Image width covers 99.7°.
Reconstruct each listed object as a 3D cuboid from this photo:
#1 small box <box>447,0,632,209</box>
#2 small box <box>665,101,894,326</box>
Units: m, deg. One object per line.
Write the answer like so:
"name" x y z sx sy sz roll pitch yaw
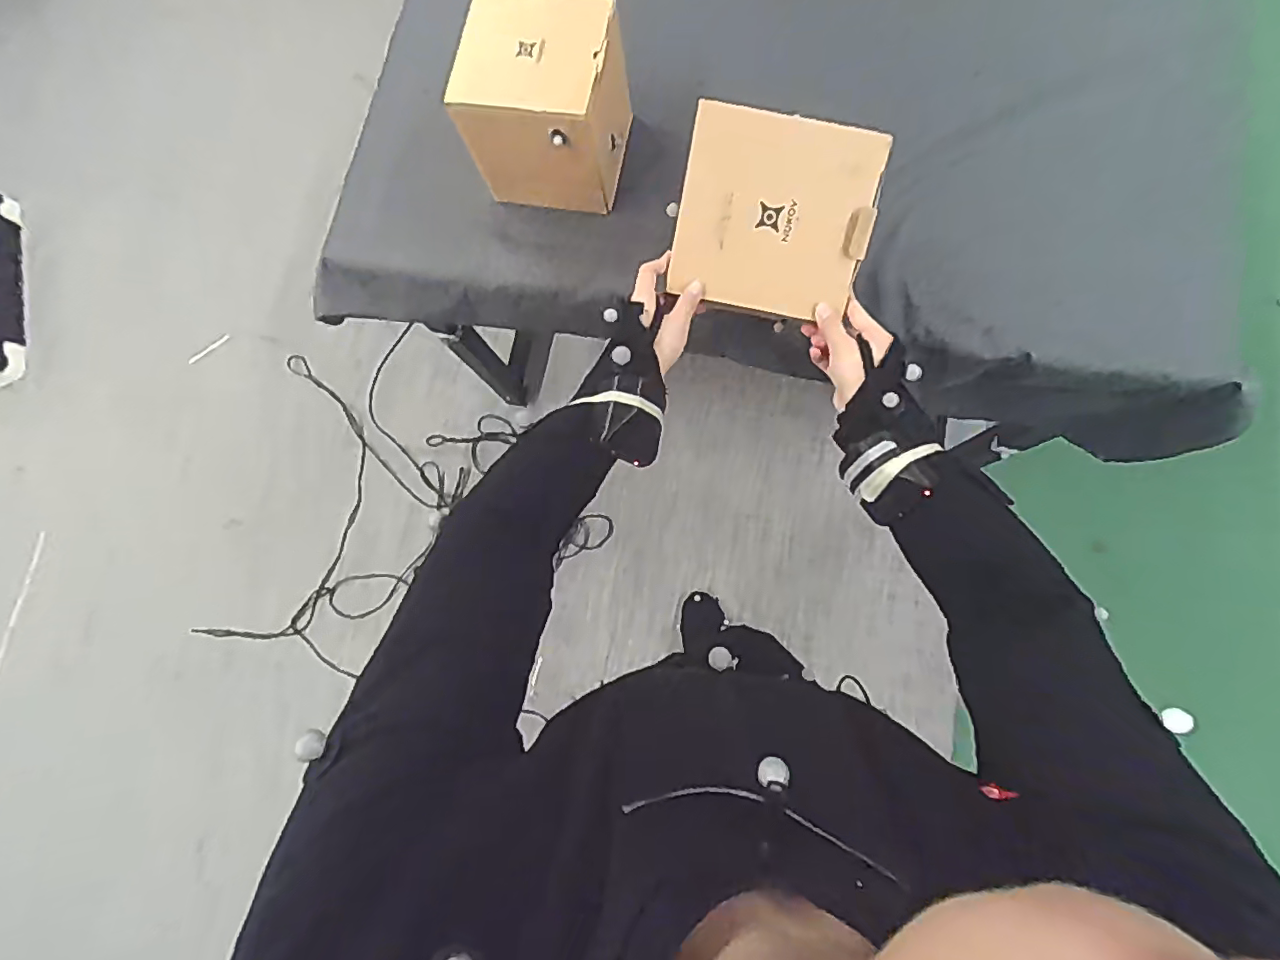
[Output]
"small box" -0.117 -0.484 0.709 0.179 0.176 0.168 10 80 7
"small box" 0.129 -0.260 0.568 0.179 0.176 0.168 11 105 3
